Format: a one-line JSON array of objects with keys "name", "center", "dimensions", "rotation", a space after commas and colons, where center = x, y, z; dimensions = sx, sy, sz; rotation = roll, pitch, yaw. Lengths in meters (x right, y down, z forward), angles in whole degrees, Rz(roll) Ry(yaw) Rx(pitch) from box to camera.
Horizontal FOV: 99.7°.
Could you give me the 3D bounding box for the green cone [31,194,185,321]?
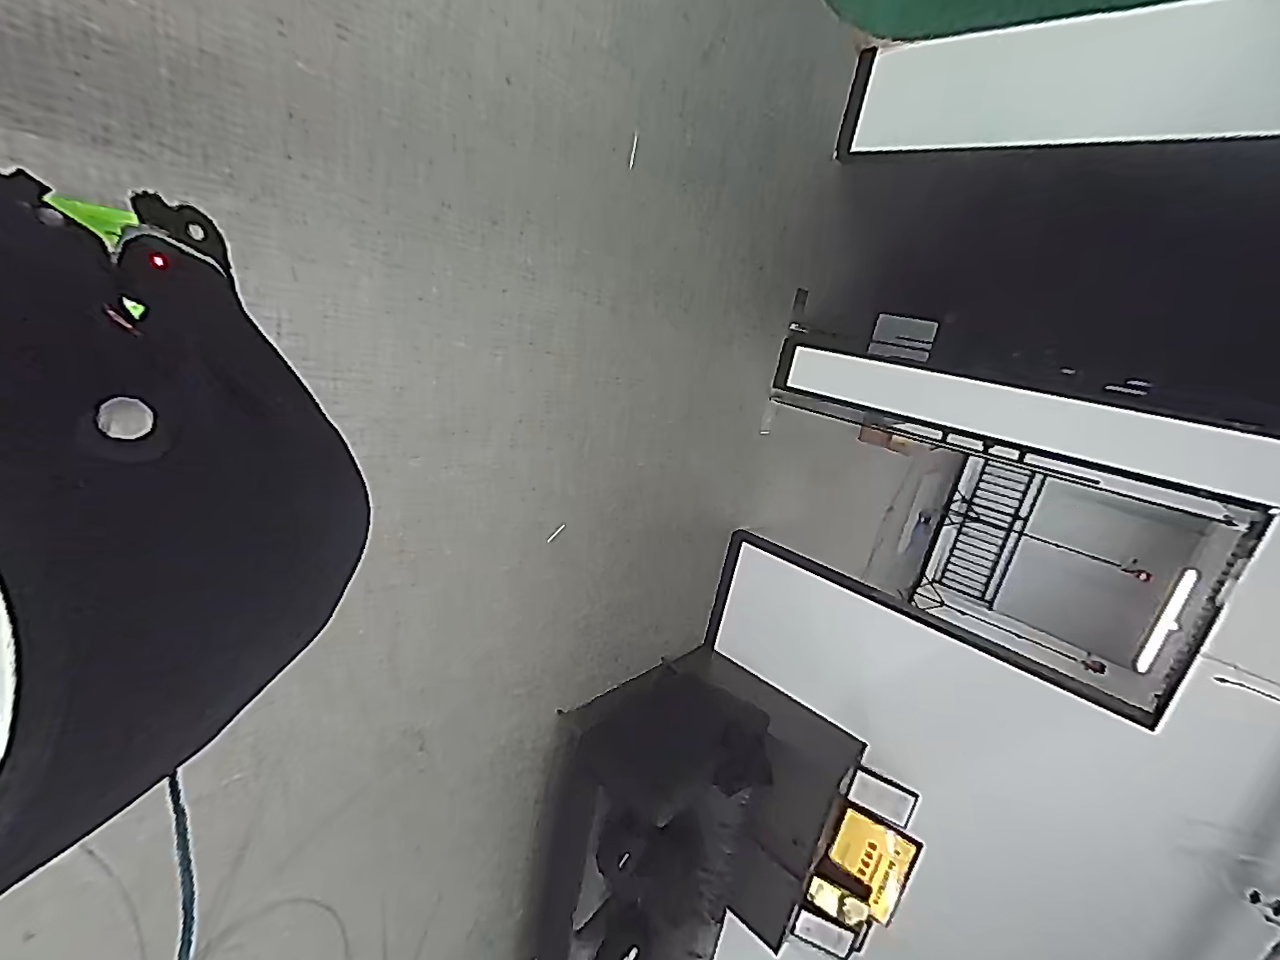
[{"name": "green cone", "center": [-0.874, -0.357, 0.920], "dimensions": [0.202, 0.368, 0.200], "rotation": [-8, 115, -47]}]
